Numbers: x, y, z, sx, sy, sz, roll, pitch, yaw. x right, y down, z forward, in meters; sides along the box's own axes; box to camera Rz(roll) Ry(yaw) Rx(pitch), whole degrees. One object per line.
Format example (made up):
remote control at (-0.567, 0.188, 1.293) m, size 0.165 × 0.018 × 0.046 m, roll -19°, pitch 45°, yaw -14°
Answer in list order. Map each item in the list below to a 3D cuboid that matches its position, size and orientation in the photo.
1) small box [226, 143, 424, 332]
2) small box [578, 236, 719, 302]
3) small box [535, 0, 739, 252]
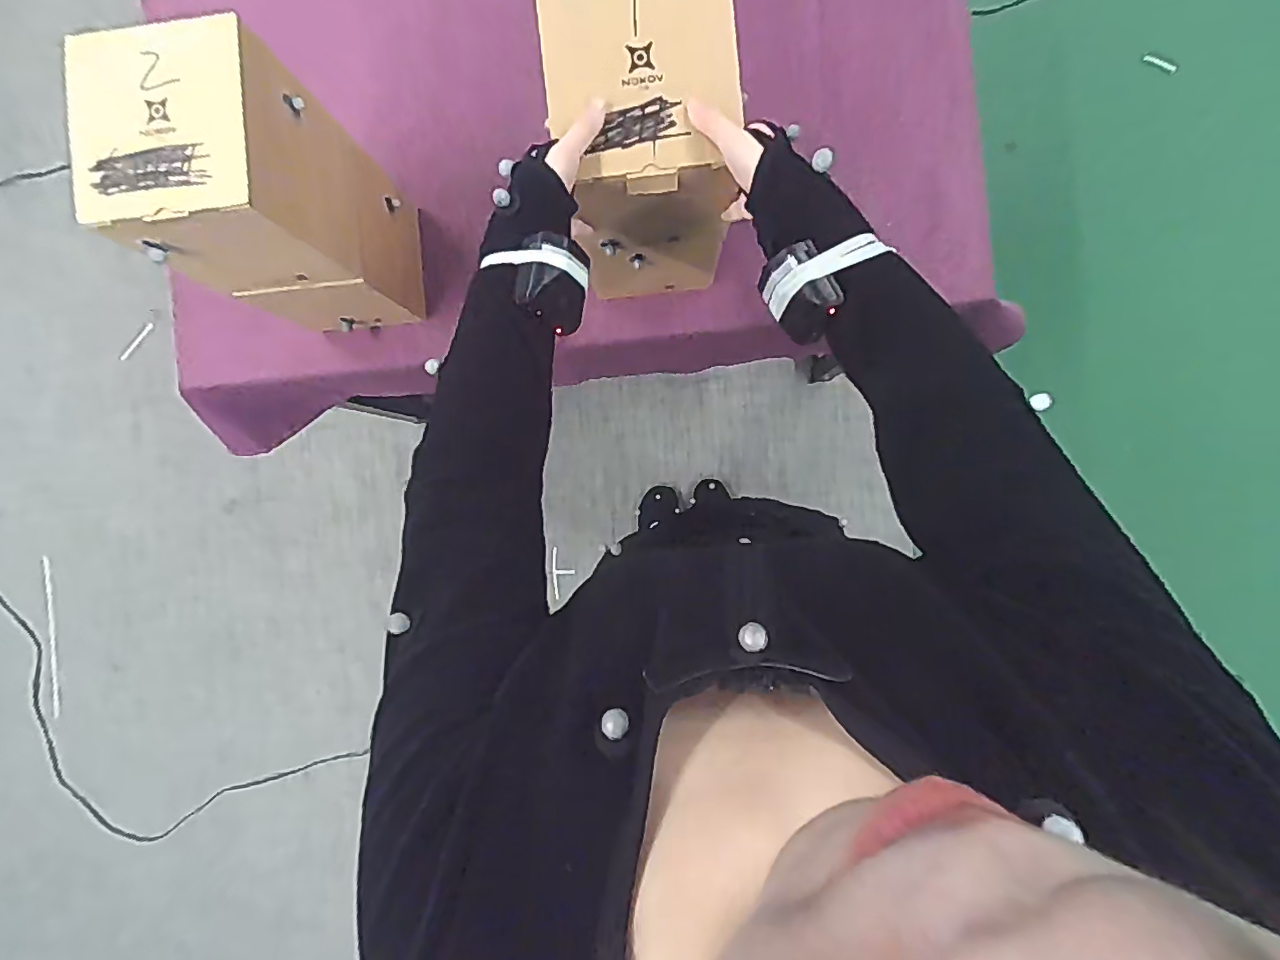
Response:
small box at (-0.410, -0.312, 0.729) m, size 0.168 × 0.176 × 0.179 m, roll -4°, pitch 91°, yaw 4°
small box at (0.008, -0.351, 0.704) m, size 0.168 × 0.176 × 0.179 m, roll -5°, pitch 91°, yaw 4°
small box at (0.002, -0.344, 0.539) m, size 0.168 × 0.176 × 0.179 m, roll -6°, pitch 92°, yaw 3°
